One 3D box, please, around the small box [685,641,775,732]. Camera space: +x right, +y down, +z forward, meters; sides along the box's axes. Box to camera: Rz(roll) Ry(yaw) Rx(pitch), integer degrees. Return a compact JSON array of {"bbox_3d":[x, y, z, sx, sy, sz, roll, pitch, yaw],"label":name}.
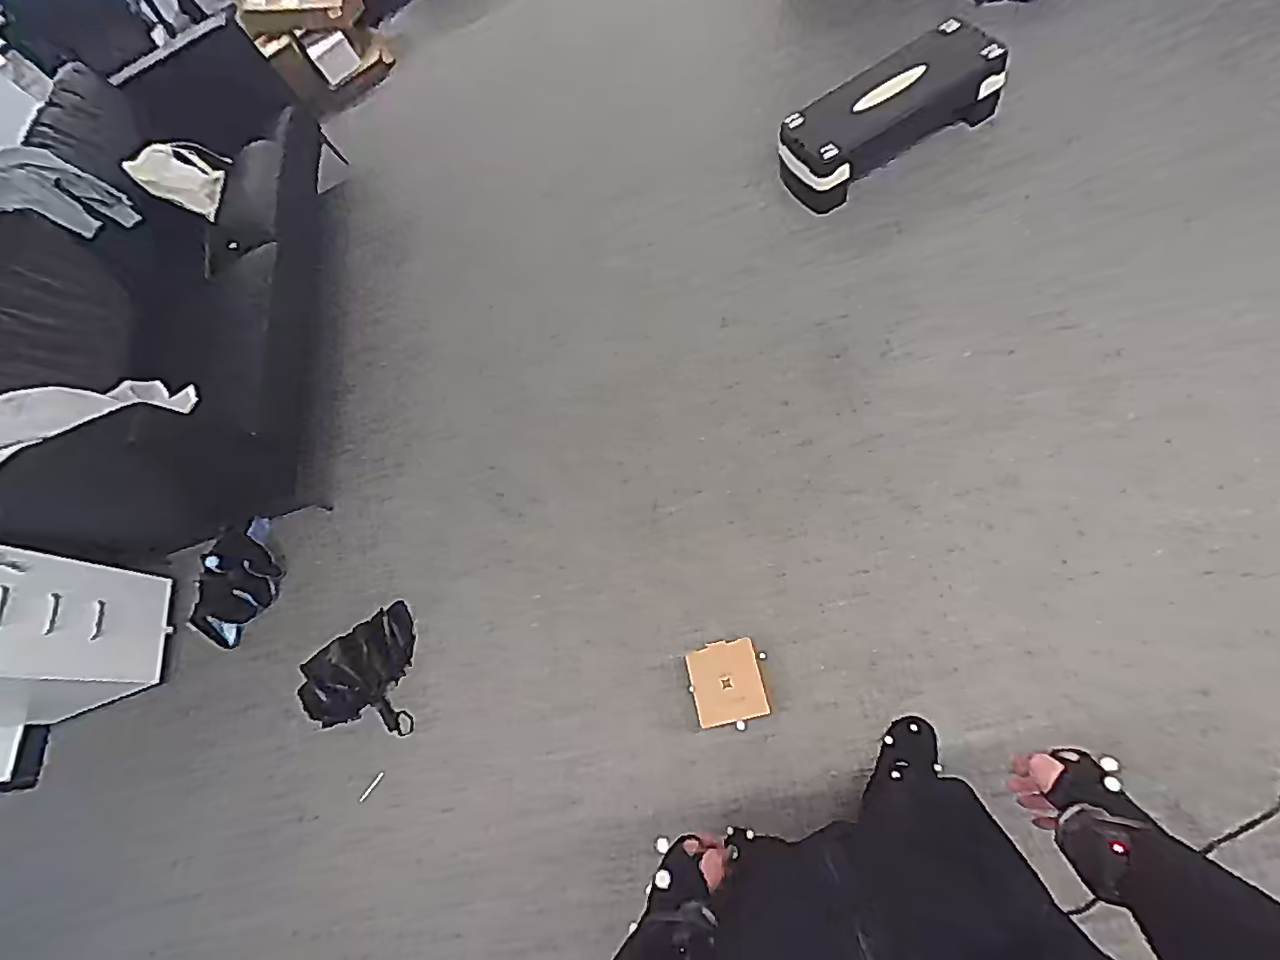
[{"bbox_3d":[0.224,0.510,1.330,0.168,0.176,0.179,-19,65,12],"label":"small box"}]
